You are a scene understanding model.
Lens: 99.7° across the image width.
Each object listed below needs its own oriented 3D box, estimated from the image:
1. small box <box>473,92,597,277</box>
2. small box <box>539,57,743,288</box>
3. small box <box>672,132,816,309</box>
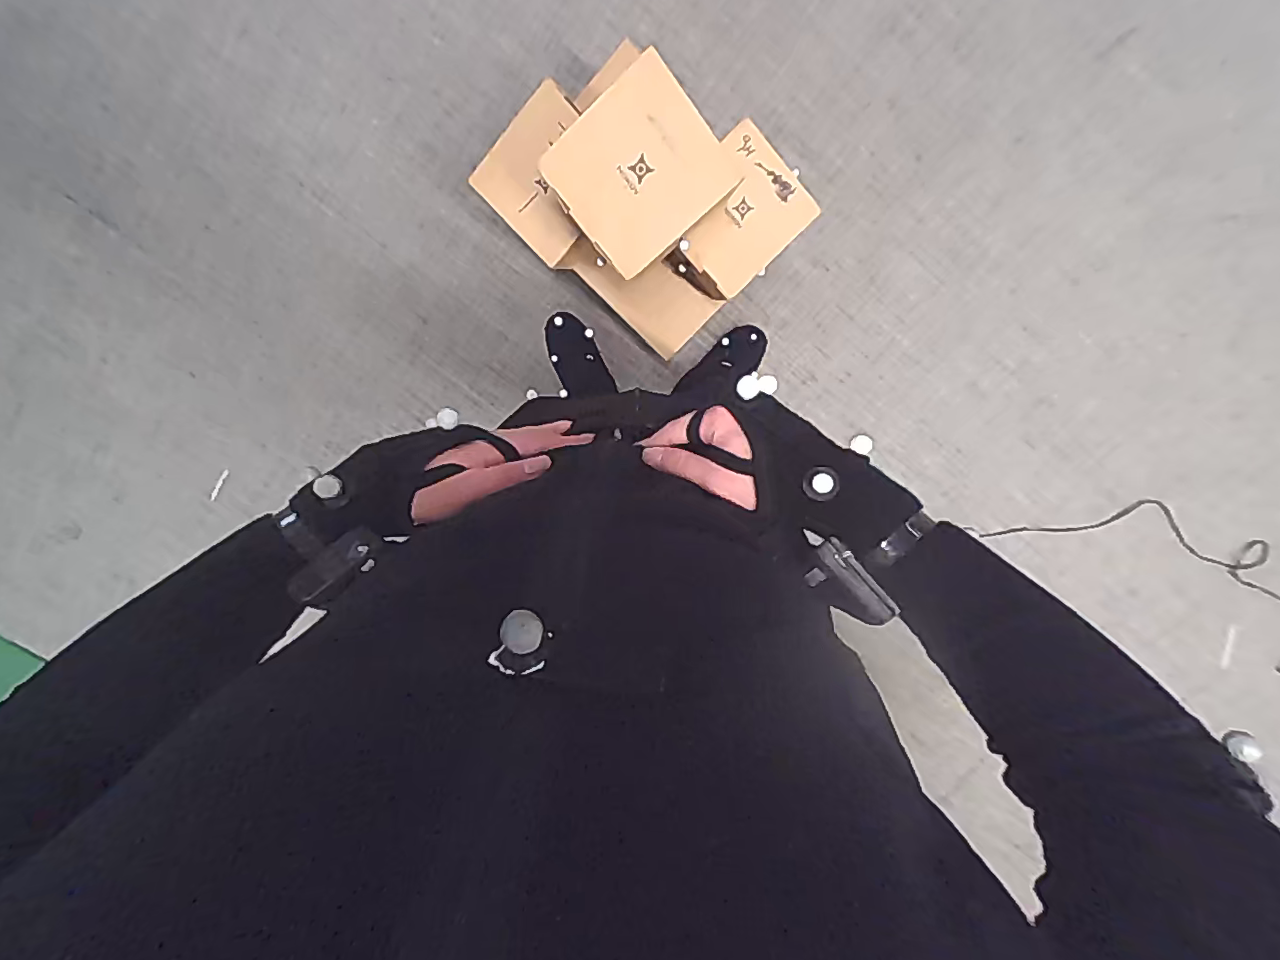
[{"bbox_3d":[-0.119,-0.437,0.835,0.179,0.176,0.168,-41,103,15],"label":"small box"},{"bbox_3d":[0.003,-0.363,0.684,0.179,0.176,0.168,-39,104,11],"label":"small box"},{"bbox_3d":[0.139,-0.386,0.845,0.179,0.176,0.168,-43,101,12],"label":"small box"}]
